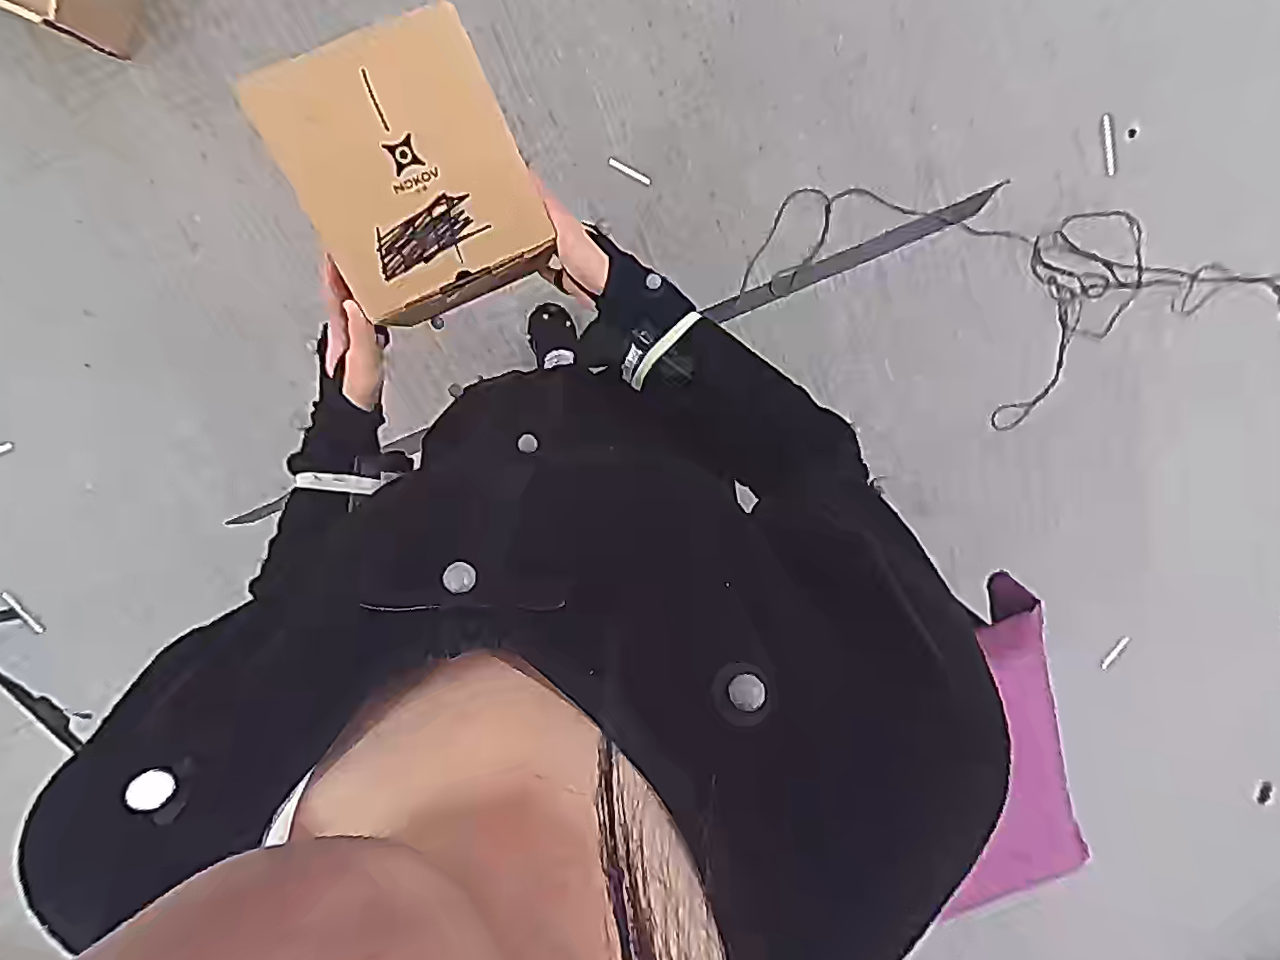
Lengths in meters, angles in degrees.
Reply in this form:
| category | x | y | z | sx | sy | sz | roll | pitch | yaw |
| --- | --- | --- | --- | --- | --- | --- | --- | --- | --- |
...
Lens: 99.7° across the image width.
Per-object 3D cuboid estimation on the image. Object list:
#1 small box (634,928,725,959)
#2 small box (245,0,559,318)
| category | x | y | z | sx | sy | sz | roll | pitch | yaw |
| --- | --- | --- | --- | --- | --- | --- | --- | --- | --- |
| small box | 0.097 | 0.997 | 1.008 | 0.168 | 0.176 | 0.179 | -23 | 108 | 1 |
| small box | -0.183 | -0.257 | 0.479 | 0.168 | 0.176 | 0.179 | -25 | 108 | -6 |
